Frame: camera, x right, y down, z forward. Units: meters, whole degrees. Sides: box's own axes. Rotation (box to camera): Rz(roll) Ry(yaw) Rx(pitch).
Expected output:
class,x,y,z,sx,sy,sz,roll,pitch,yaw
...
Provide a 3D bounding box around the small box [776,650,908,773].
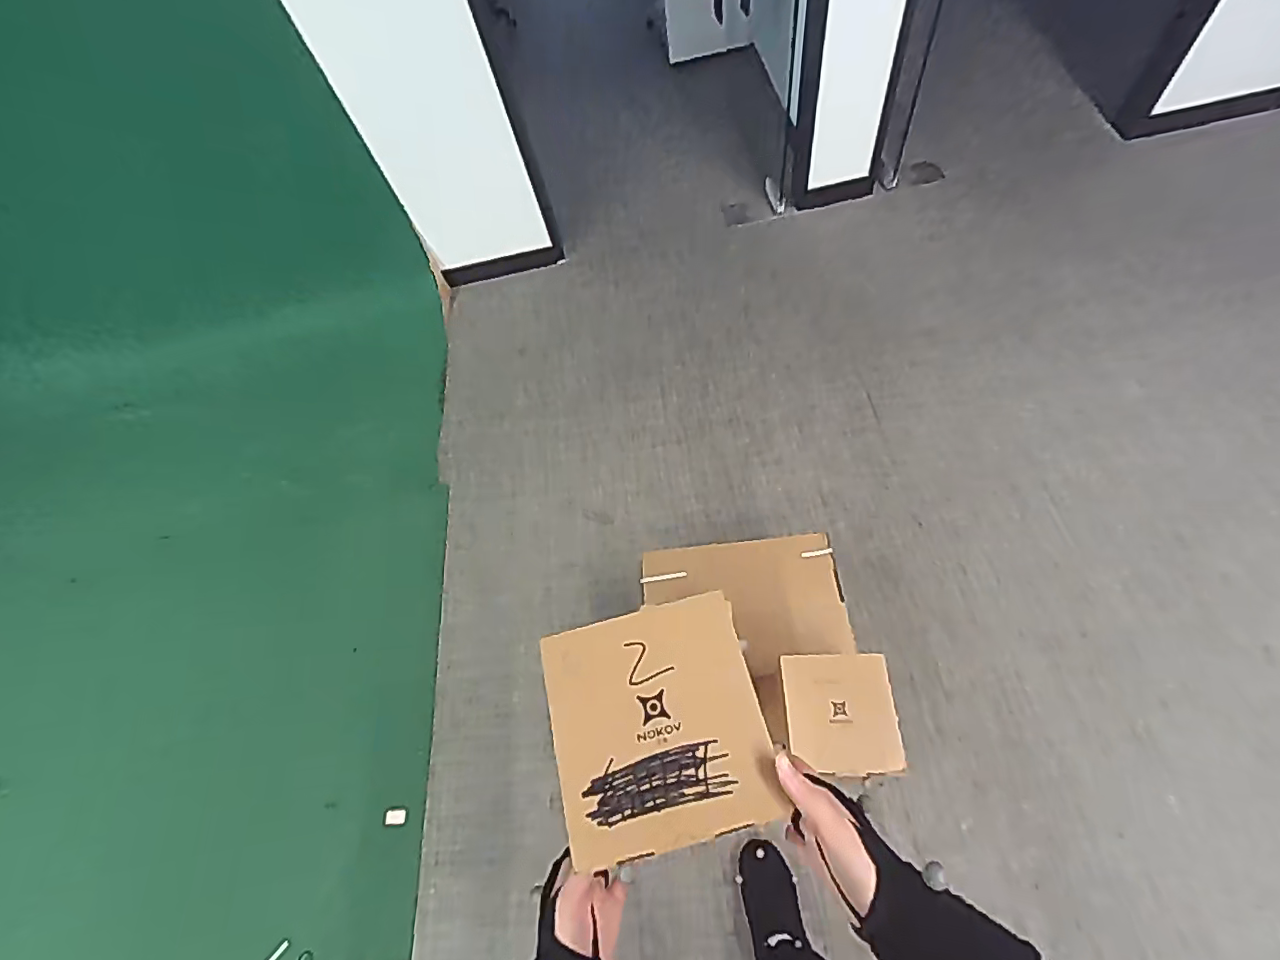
class,x,y,z,sx,sy,sz,roll,pitch,yaw
small box,0.323,0.389,0.902,0.168,0.176,0.179,-3,60,7

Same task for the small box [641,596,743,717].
class,x,y,z,sx,sy,sz,roll,pitch,yaw
small box,0.096,0.324,0.981,0.168,0.176,0.179,-5,59,9
